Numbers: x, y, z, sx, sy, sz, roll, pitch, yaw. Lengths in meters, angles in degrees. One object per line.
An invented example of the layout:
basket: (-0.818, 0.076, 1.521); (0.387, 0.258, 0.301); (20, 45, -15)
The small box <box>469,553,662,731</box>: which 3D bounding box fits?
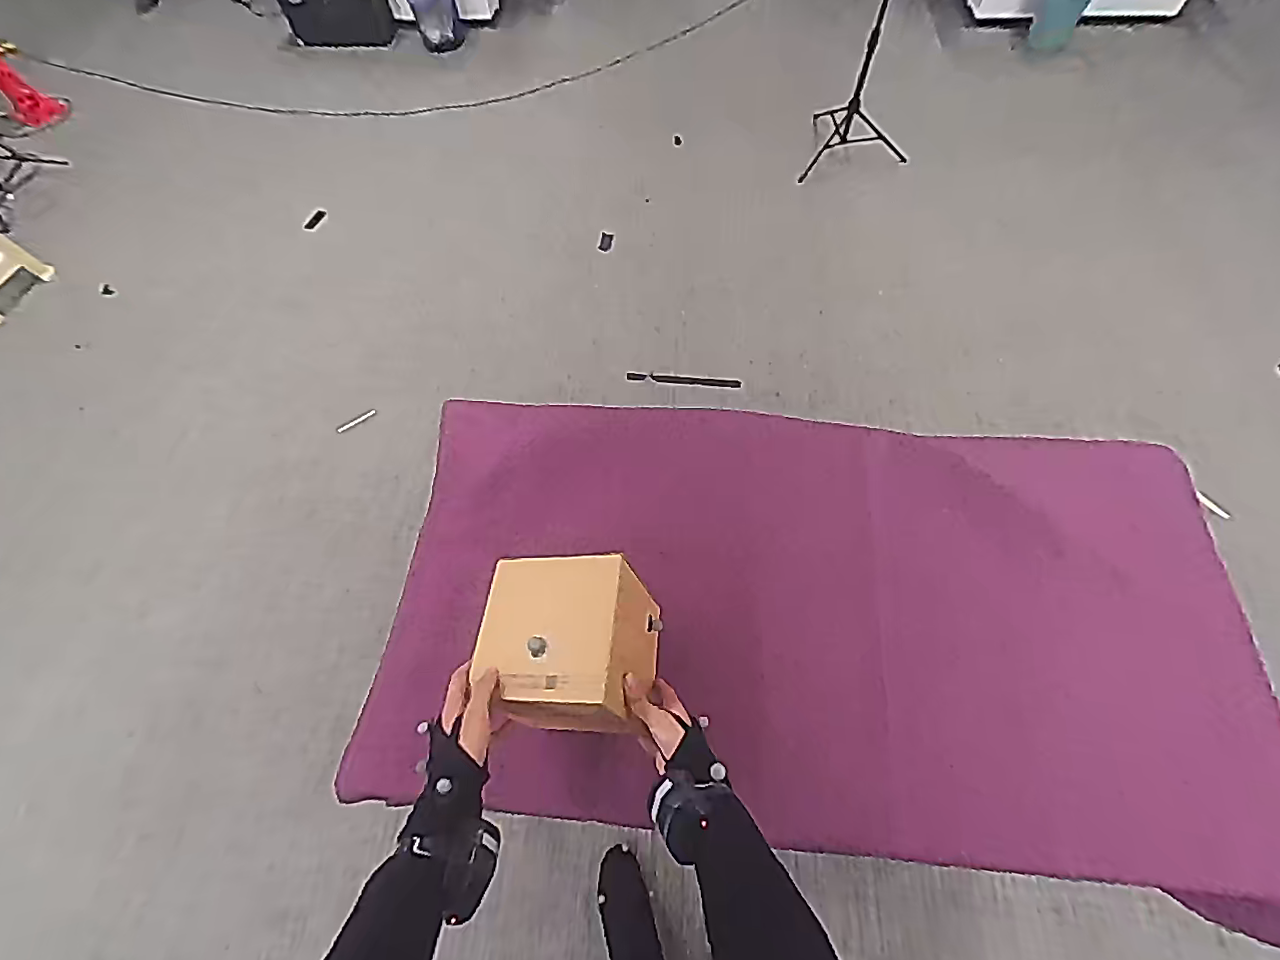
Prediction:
small box: (-0.083, 0.205, 0.662); (0.168, 0.179, 0.176); (-6, 55, 19)
